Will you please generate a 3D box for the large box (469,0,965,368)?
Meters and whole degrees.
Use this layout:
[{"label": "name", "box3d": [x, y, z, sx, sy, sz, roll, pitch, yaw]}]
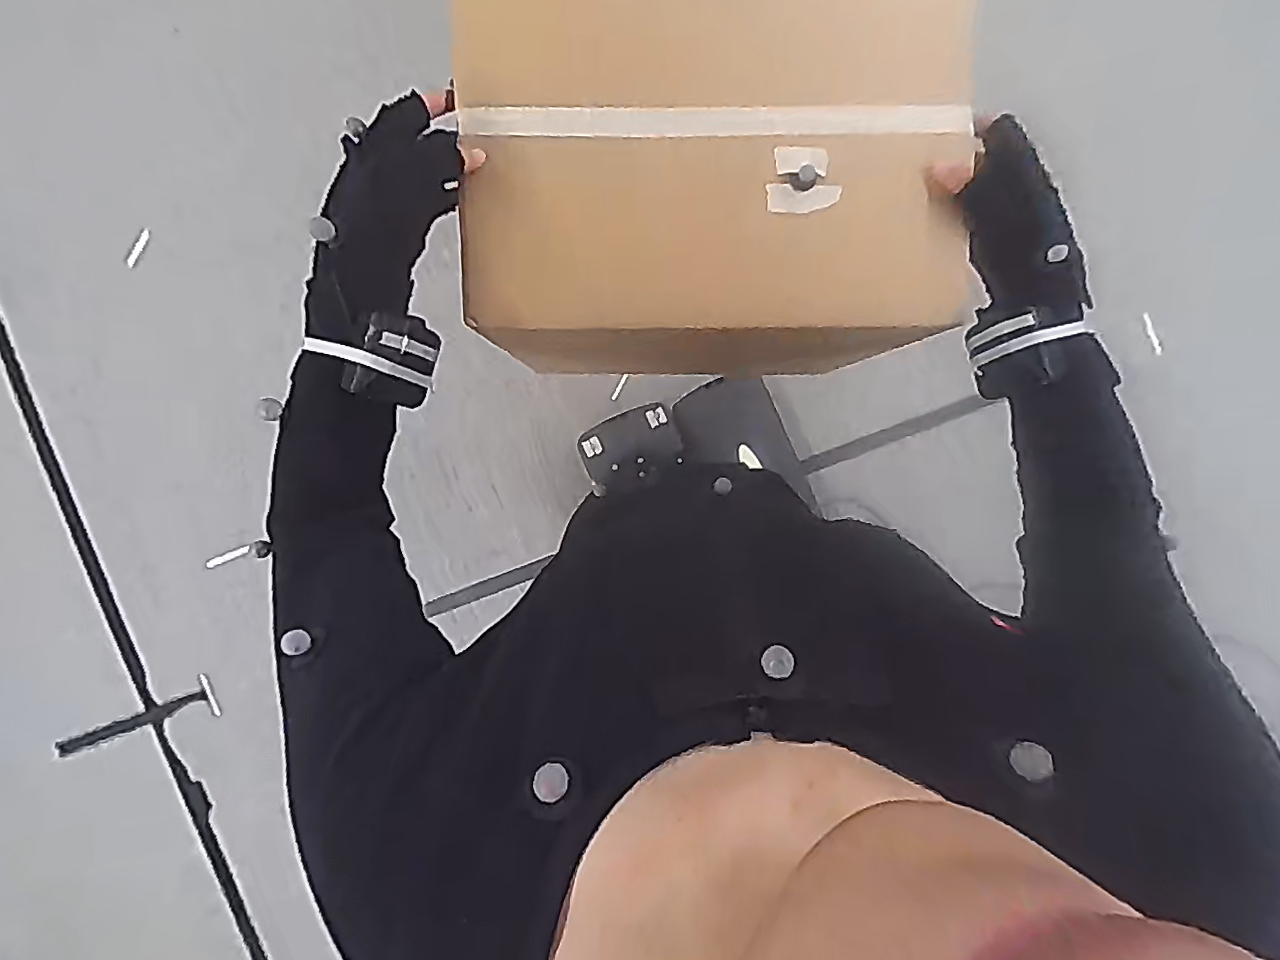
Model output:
[{"label": "large box", "box3d": [0.058, -0.299, 0.586, 0.408, 0.320, 0.320, 0, 95, -2]}]
